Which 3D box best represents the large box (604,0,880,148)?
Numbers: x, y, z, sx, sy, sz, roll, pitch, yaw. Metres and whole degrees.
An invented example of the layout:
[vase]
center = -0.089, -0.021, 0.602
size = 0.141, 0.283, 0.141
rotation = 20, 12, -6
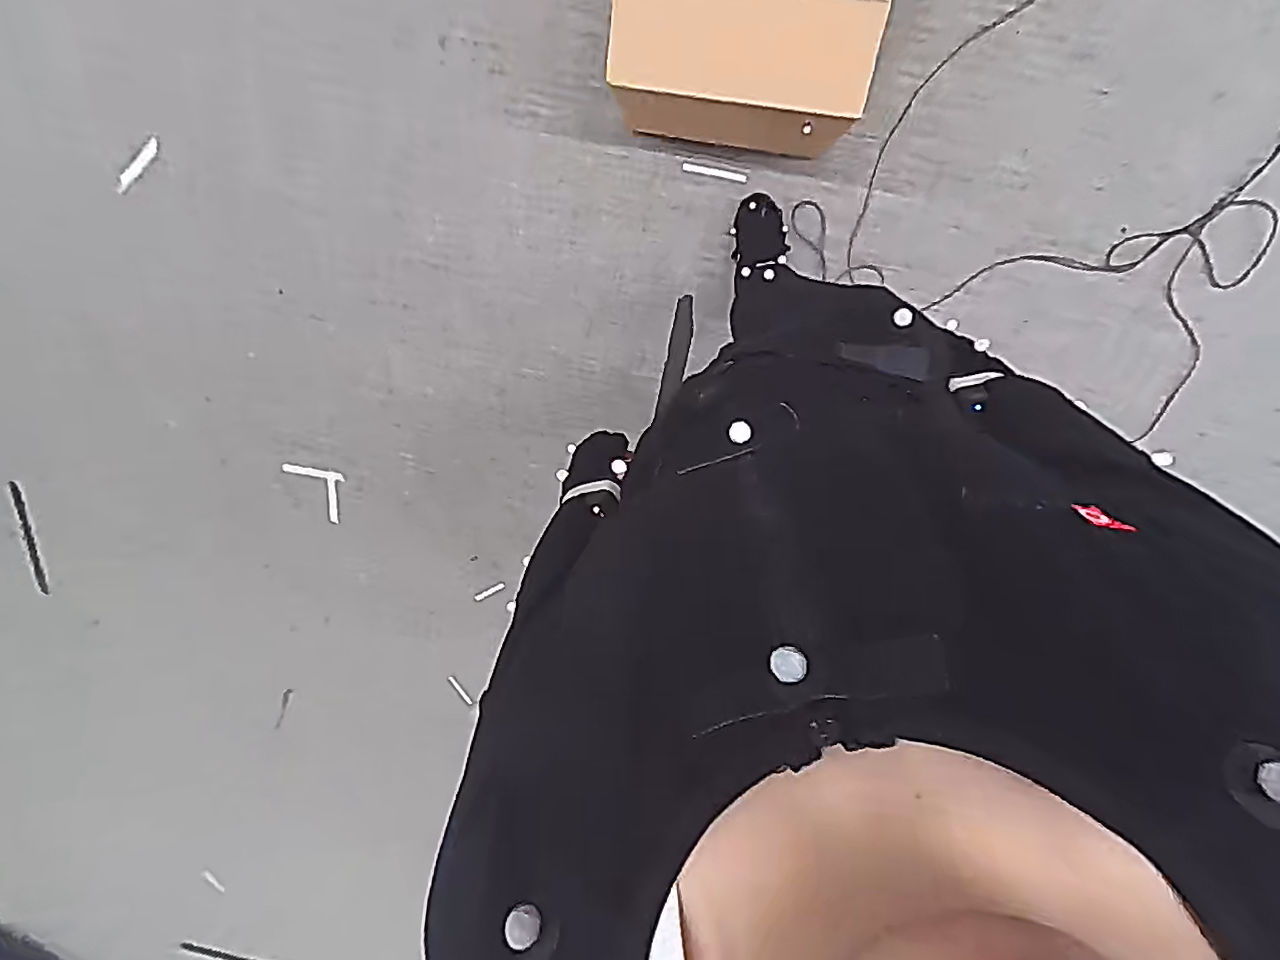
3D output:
[large box]
center = 0.173, -0.792, 0.926
size = 0.408, 0.320, 0.320
rotation = 9, 111, 2
